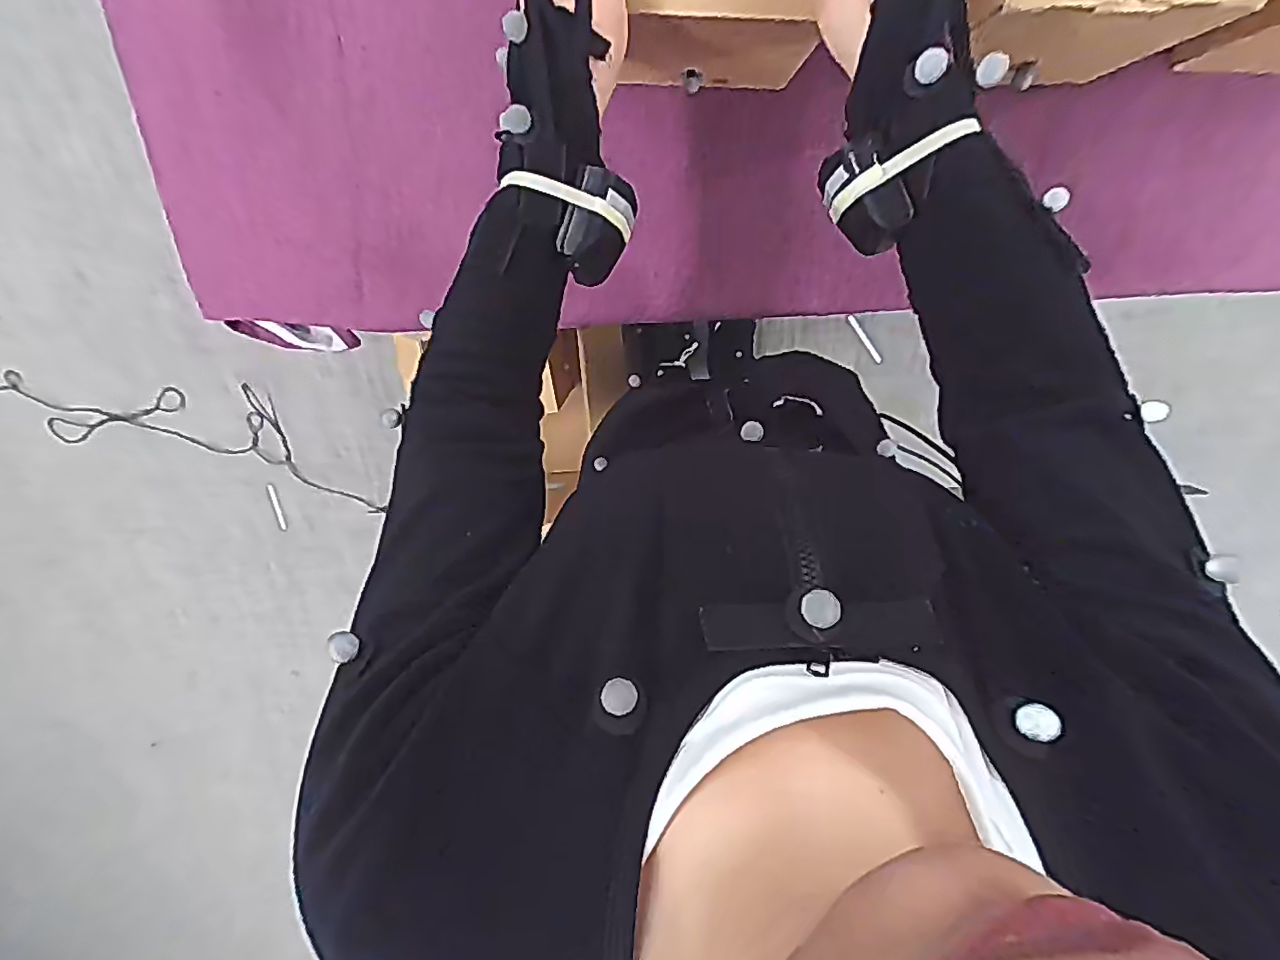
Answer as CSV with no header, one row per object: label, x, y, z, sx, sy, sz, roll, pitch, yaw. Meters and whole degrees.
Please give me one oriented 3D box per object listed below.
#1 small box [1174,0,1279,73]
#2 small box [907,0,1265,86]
small box,0.555,-0.407,0.374,0.179,0.176,0.168,3,112,2
small box,0.314,-0.409,0.381,0.168,0.176,0.179,1,112,2
